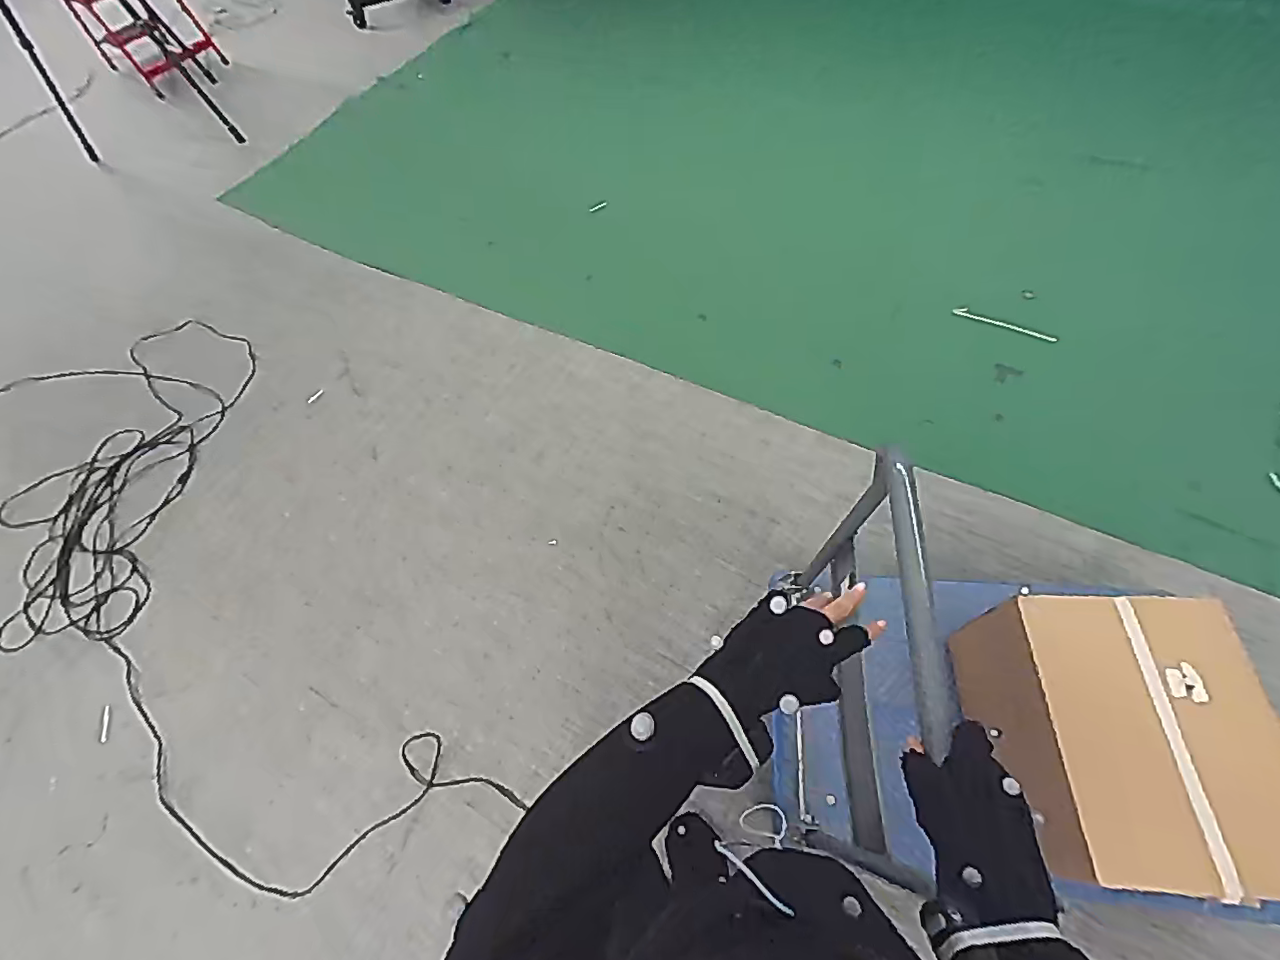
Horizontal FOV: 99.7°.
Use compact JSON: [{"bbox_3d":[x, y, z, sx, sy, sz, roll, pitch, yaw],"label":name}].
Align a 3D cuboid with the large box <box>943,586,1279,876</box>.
[{"bbox_3d":[0.787,0.429,0.947,0.320,0.320,0.408,0,60,6],"label":"large box"}]
